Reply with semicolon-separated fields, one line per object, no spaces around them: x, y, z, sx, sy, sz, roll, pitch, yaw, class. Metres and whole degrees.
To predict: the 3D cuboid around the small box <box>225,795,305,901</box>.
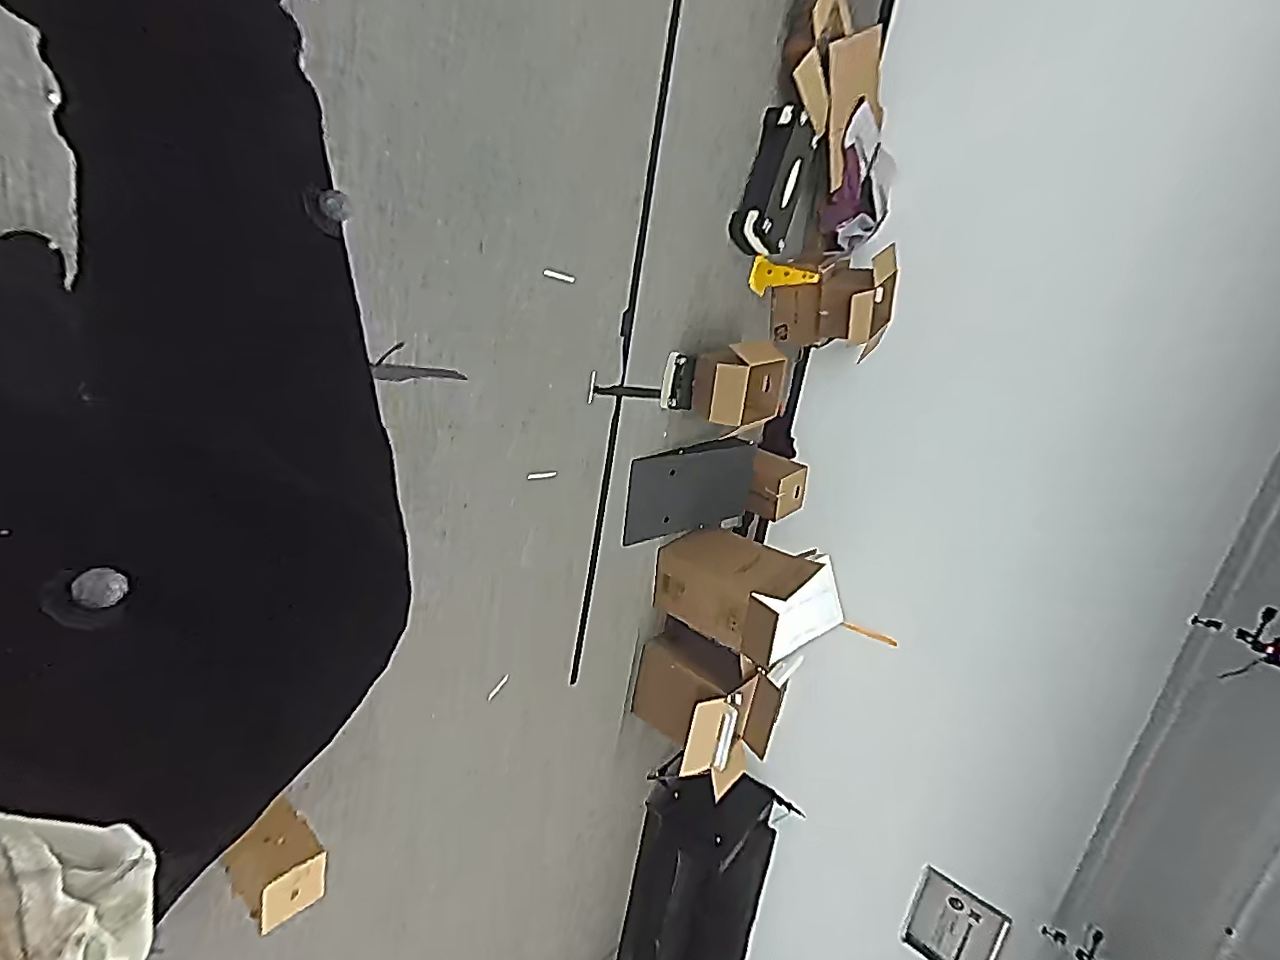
-1.169;1.136;1.686;0.168;0.176;0.179;-7;111;-53;small box

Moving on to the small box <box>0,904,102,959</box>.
-1.455;1.208;1.337;0.168;0.176;0.179;-13;117;-50;small box

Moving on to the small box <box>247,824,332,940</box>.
-1.037;1.176;1.597;0.168;0.176;0.179;-7;111;-53;small box
